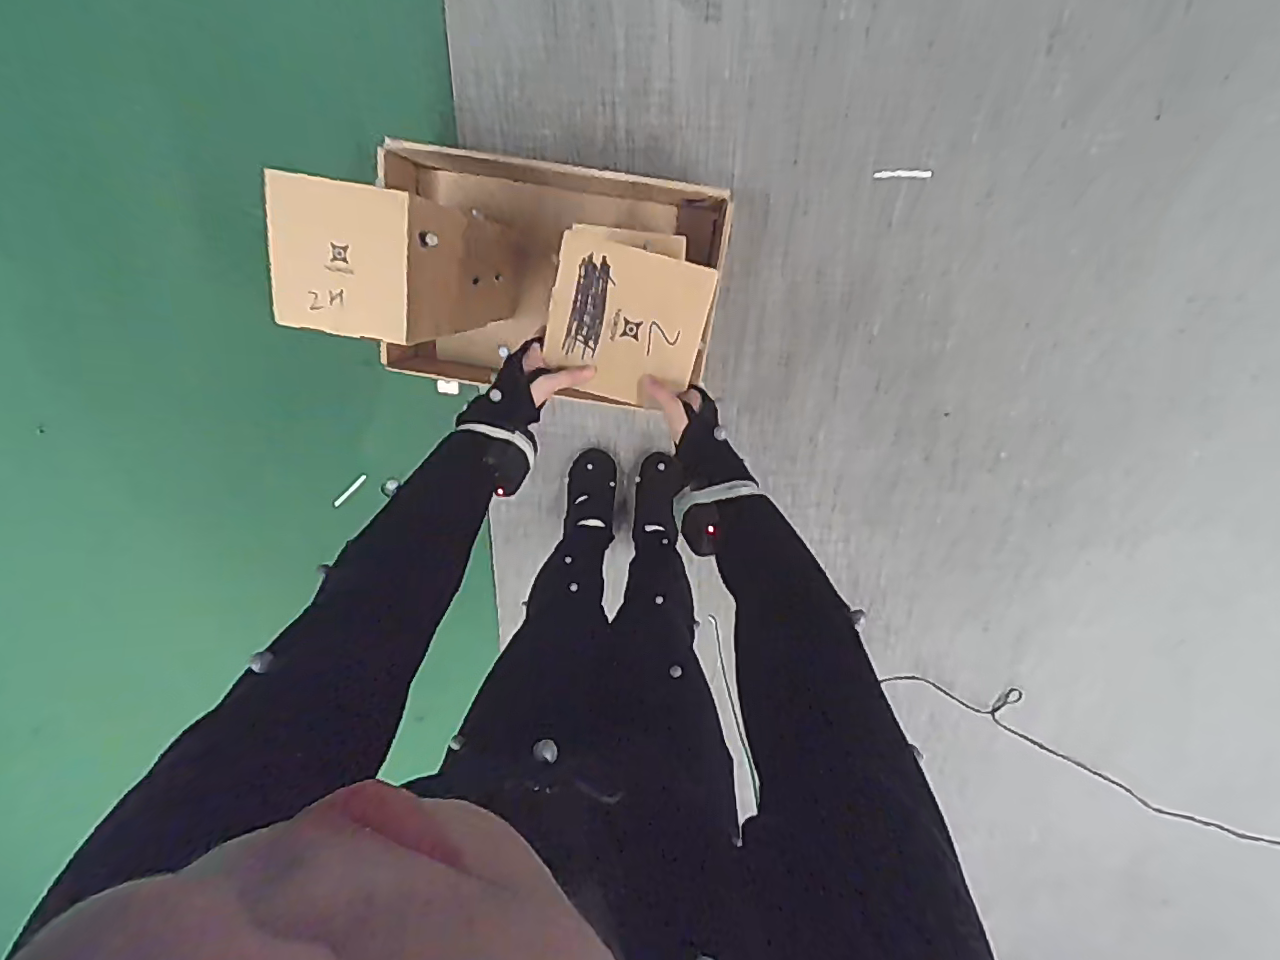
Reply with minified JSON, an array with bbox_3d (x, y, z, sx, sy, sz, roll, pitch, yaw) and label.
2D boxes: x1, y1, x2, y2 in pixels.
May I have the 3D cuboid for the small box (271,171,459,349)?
[{"bbox_3d":[-0.350,-0.284,0.718,0.168,0.176,0.179,10,110,-2],"label":"small box"}]

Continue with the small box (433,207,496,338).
[{"bbox_3d":[-0.340,-0.341,0.872,0.168,0.176,0.179,11,111,-2],"label":"small box"}]

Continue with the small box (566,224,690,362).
[{"bbox_3d":[-0.017,-0.297,0.869,0.168,0.176,0.179,8,110,1],"label":"small box"}]
